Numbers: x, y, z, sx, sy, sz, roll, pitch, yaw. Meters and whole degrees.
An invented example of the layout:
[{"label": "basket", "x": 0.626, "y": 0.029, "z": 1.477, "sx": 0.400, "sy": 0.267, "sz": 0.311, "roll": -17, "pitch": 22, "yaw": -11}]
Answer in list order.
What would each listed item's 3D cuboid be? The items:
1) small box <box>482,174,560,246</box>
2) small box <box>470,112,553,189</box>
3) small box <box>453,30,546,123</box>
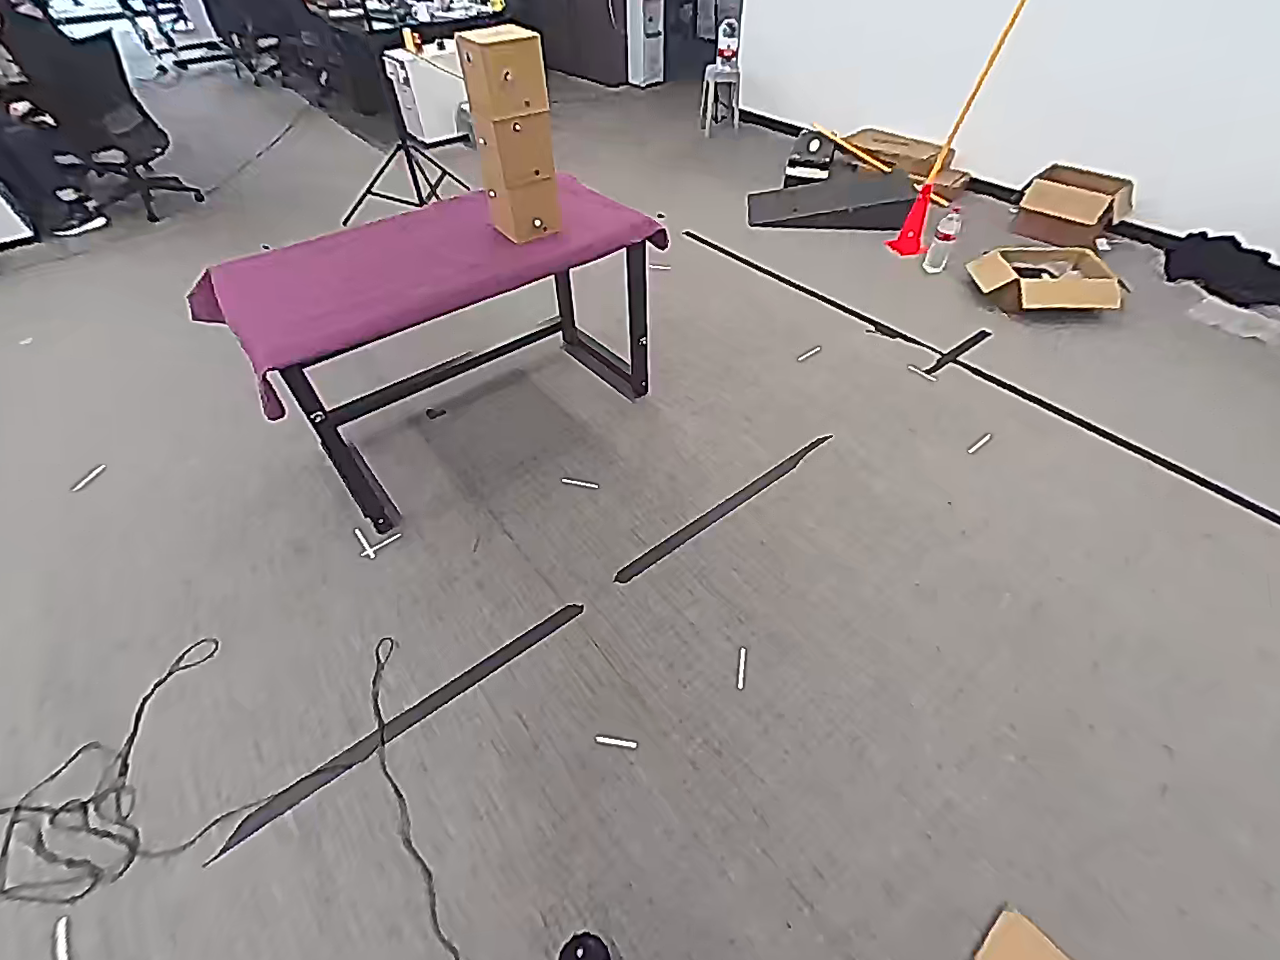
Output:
[{"label": "small box", "x": -0.368, "y": -0.859, "z": 1.691, "sx": 0.168, "sy": 0.176, "sz": 0.179, "roll": -29, "pitch": 54, "yaw": -22}, {"label": "small box", "x": -0.369, "y": -0.966, "z": 1.567, "sx": 0.168, "sy": 0.176, "sz": 0.179, "roll": -28, "pitch": 52, "yaw": -21}, {"label": "small box", "x": -0.368, "y": -1.072, "z": 1.442, "sx": 0.168, "sy": 0.176, "sz": 0.179, "roll": -28, "pitch": 53, "yaw": -21}]
